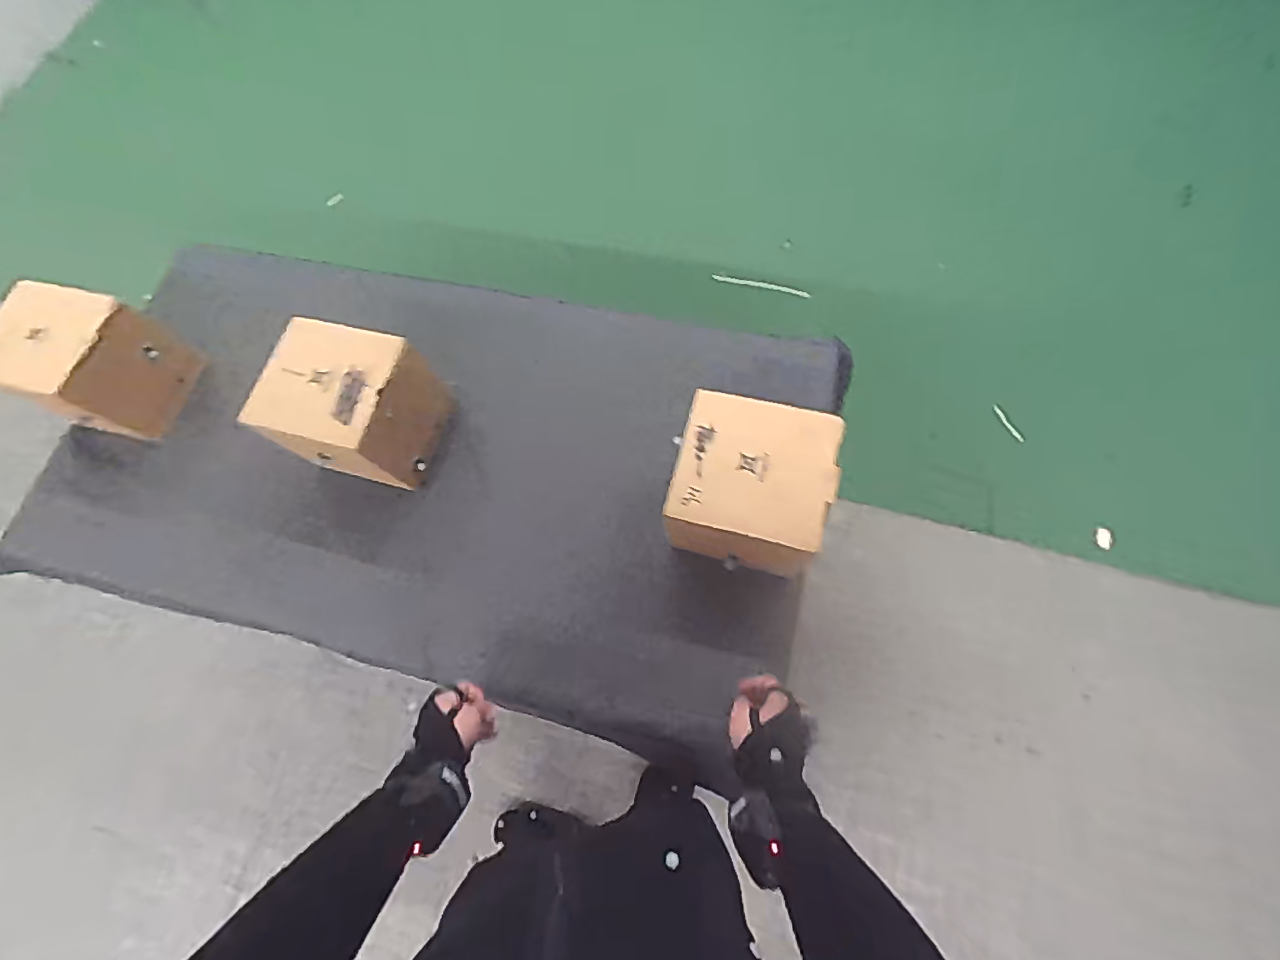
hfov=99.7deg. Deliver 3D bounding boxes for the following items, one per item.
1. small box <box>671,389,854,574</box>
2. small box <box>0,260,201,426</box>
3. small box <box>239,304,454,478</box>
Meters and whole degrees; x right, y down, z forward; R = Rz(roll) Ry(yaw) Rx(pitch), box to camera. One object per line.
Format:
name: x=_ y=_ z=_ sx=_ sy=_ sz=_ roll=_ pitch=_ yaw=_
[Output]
small box: x=0.144 y=0.013 z=0.686 sx=0.179 sy=0.176 sz=0.168 roll=15 pitch=72 yaw=9
small box: x=-0.835 y=-0.199 z=0.822 sx=0.179 sy=0.176 sz=0.168 roll=12 pitch=70 yaw=9
small box: x=-0.394 y=-0.115 z=0.765 sx=0.179 sy=0.176 sz=0.168 roll=15 pitch=71 yaw=9
